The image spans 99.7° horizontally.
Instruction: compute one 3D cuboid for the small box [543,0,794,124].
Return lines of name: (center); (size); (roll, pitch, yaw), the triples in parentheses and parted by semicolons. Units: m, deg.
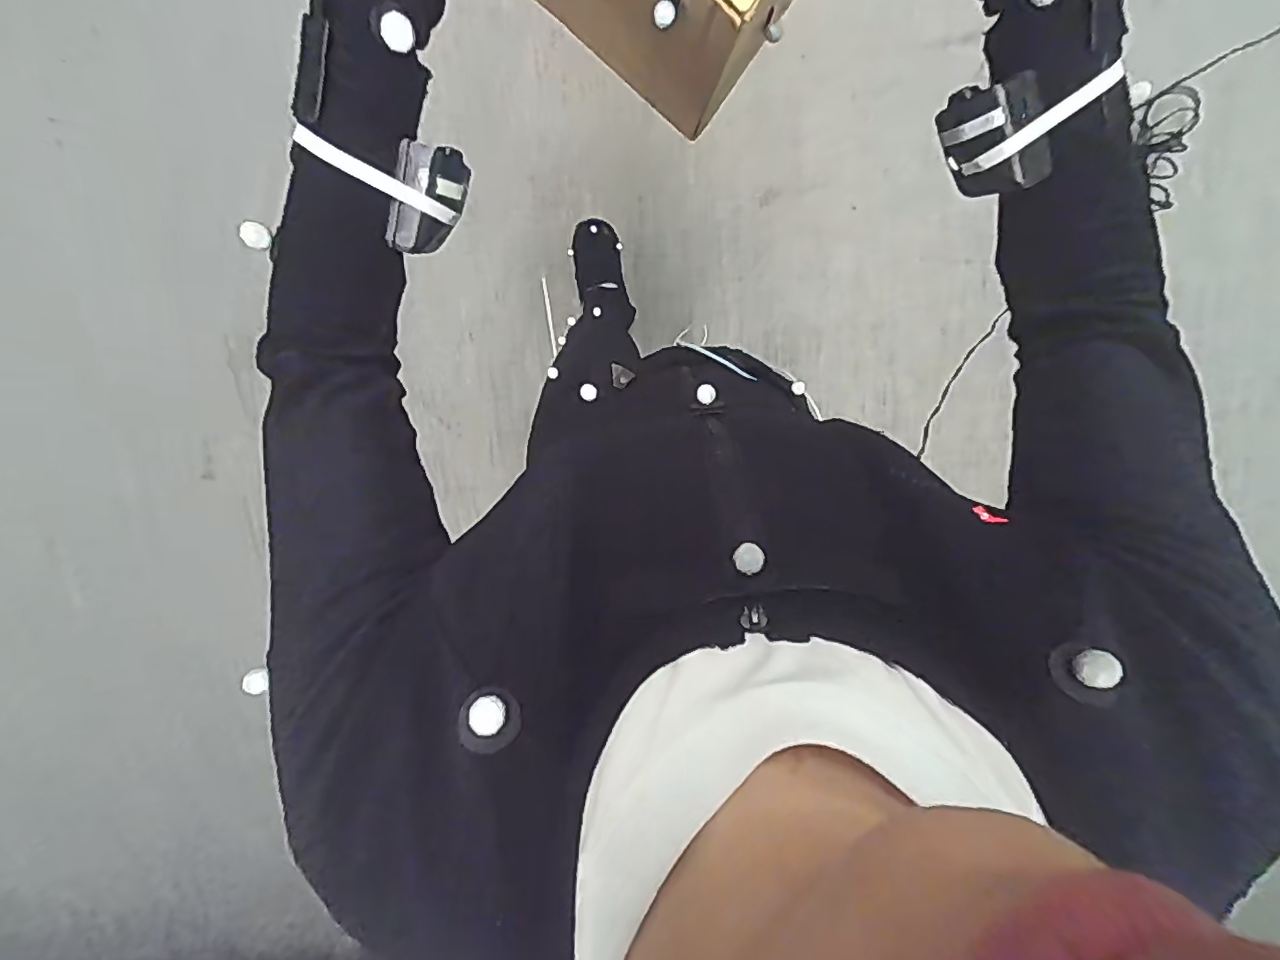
small box: (0.027, -0.369, 0.331); (0.179, 0.176, 0.168); (36, 98, -12)
